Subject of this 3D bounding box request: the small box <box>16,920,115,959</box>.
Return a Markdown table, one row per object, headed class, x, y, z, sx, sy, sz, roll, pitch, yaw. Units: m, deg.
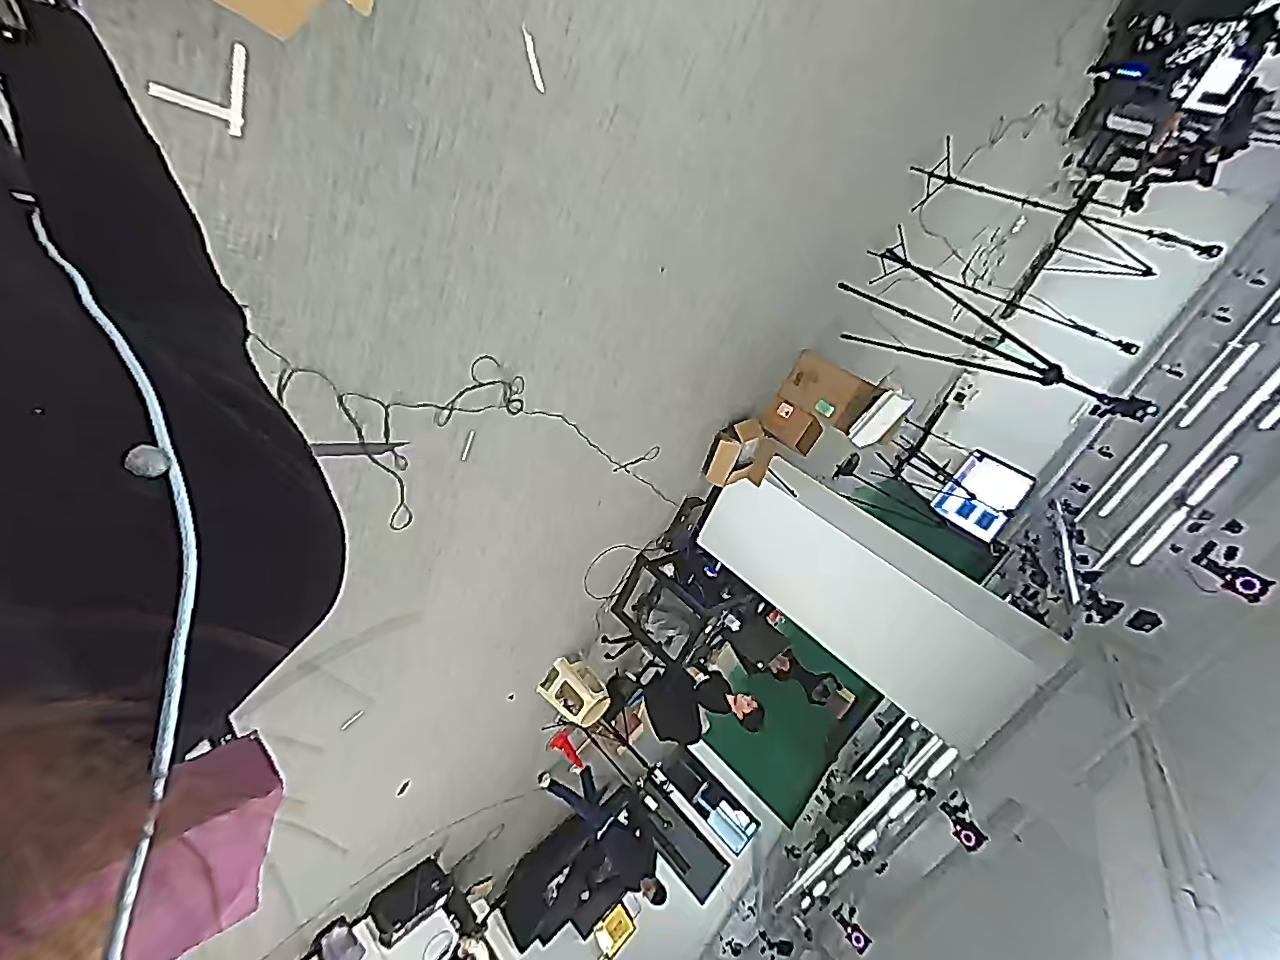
| class | x | y | z | sx | sy | sz | roll | pitch | yaw |
| --- | --- | --- | --- | --- | --- | --- | --- | --- | --- |
| small box | -1.230 | 1.091 | 1.142 | 0.168 | 0.176 | 0.179 | -9 | 131 | -52 |
